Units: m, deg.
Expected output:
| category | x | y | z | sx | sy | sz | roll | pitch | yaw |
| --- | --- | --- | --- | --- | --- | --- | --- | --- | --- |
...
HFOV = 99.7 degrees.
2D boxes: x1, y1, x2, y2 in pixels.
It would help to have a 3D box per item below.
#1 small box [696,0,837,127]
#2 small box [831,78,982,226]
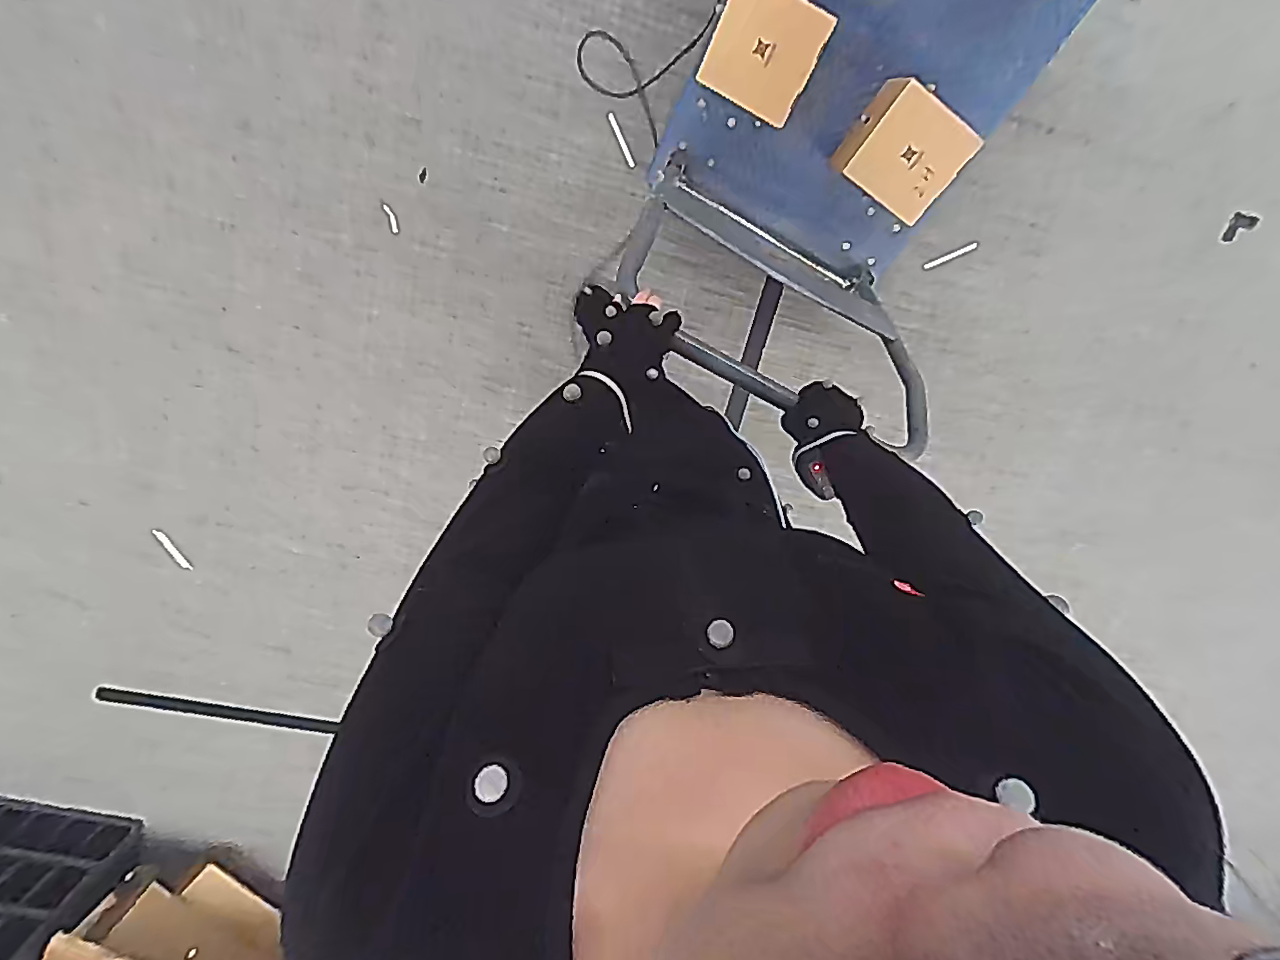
| category | x | y | z | sx | sy | sz | roll | pitch | yaw |
| --- | --- | --- | --- | --- | --- | --- | --- | --- | --- |
| small box | 0.213 | -0.760 | 0.962 | 0.179 | 0.176 | 0.168 | 22 | 126 | -11 |
| small box | 0.490 | -0.619 | 1.025 | 0.179 | 0.176 | 0.168 | 30 | 125 | -14 |
